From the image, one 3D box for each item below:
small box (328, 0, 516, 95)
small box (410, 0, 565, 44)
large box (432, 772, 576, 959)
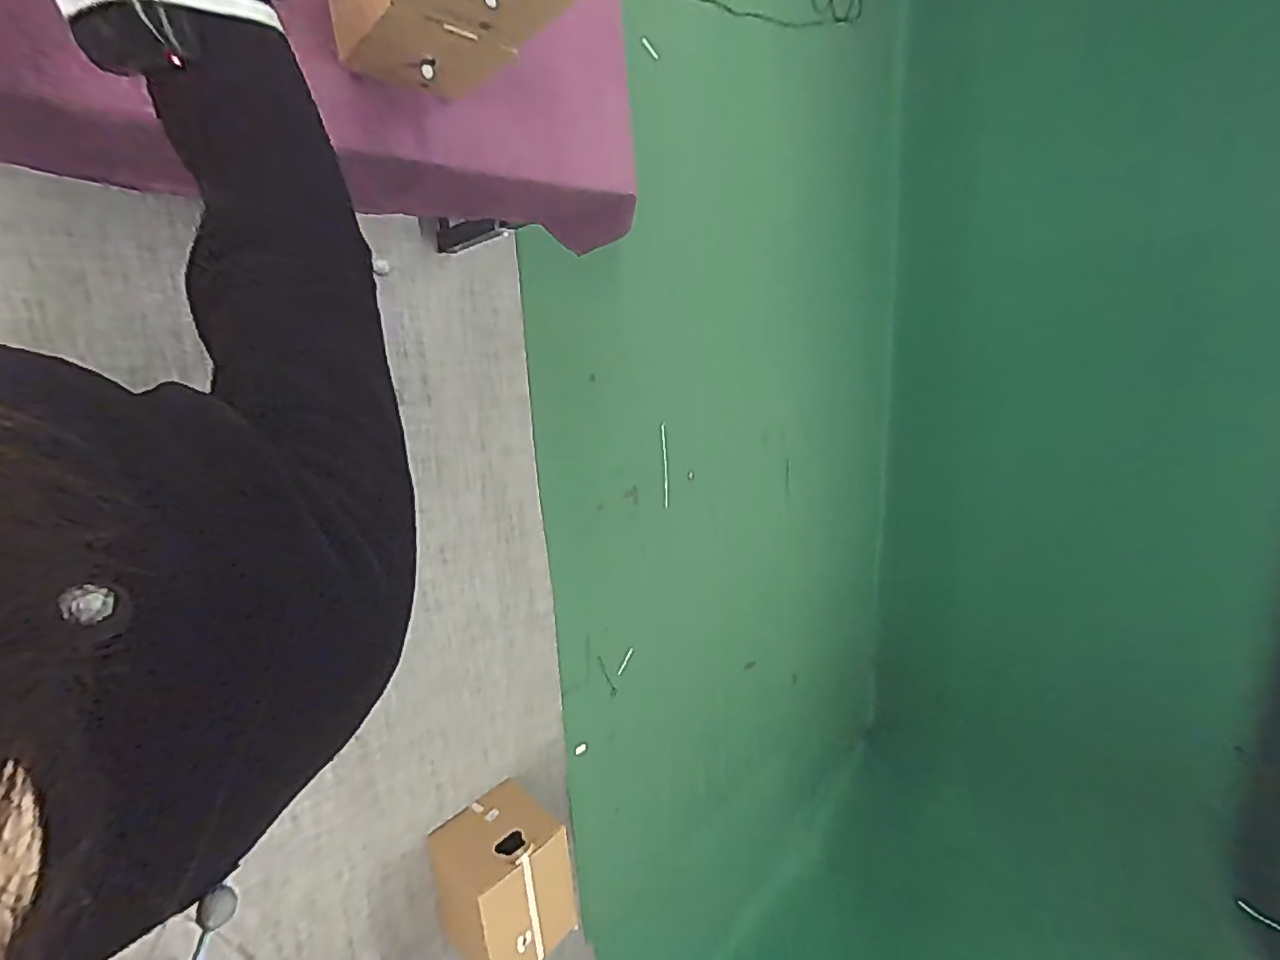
[{"bbox_3d":[-0.279,-0.622,0.677,0.168,0.176,0.179,-18,110,-43],"label":"small box"},{"bbox_3d":[-0.163,-0.604,0.561,0.168,0.176,0.179,-19,109,-43],"label":"small box"},{"bbox_3d":[-0.442,1.277,1.774,0.320,0.320,0.408,-18,110,-44],"label":"large box"}]
